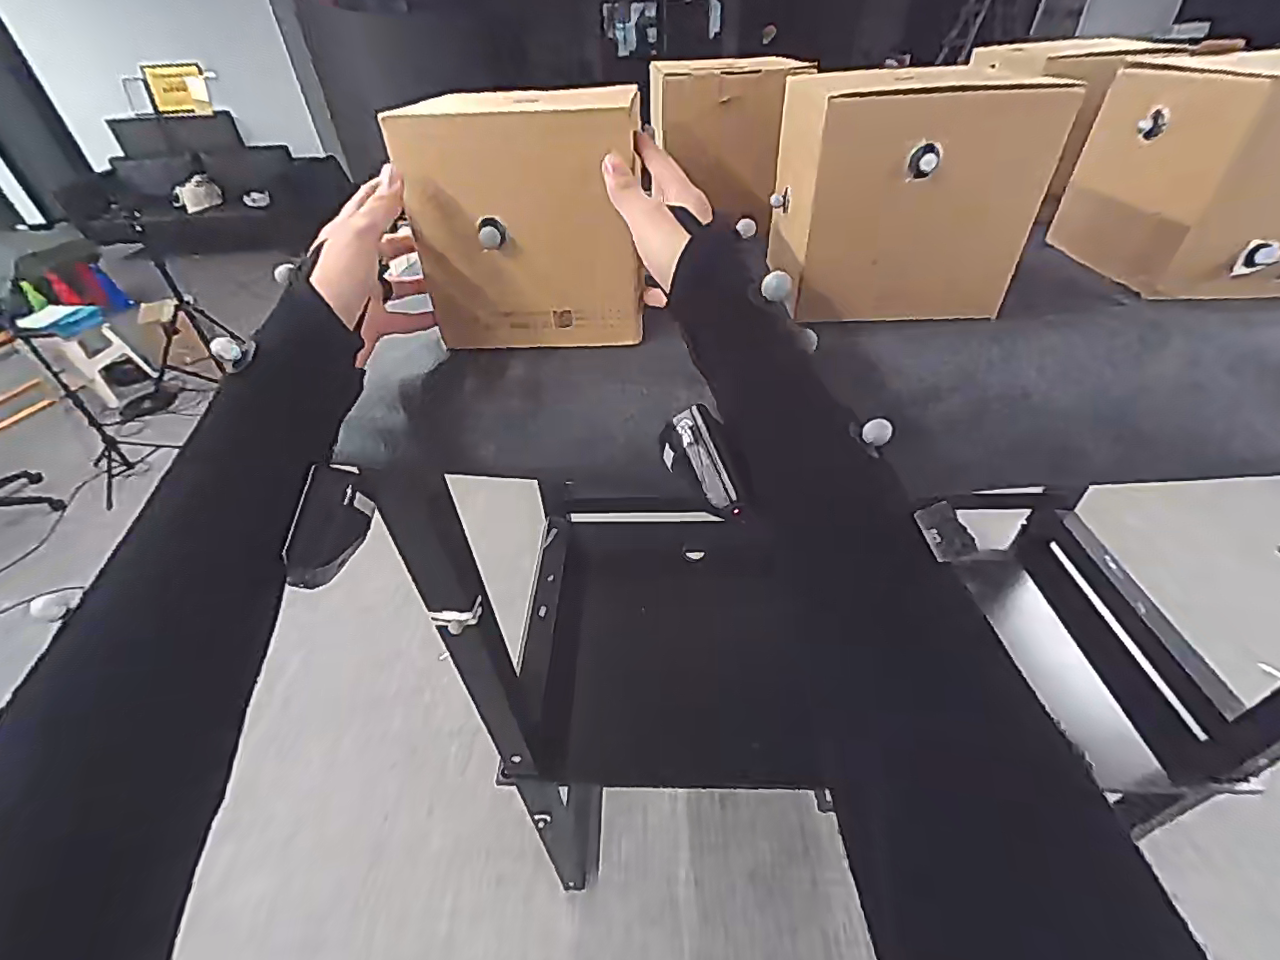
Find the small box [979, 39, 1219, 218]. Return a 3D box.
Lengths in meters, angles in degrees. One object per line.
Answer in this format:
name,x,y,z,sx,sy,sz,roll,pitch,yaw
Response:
small box,0.511,-0.431,0.666,0.179,0.176,0.168,-1,39,1

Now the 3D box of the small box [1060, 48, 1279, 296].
small box,0.532,-0.276,0.483,0.168,0.176,0.179,-1,40,4

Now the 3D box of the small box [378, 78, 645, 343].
small box,-0.081,-0.224,0.455,0.168,0.176,0.179,-1,39,2

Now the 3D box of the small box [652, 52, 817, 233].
small box,0.104,-0.415,0.671,0.168,0.176,0.179,-3,40,-1

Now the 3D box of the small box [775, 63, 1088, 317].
small box,0.219,-0.252,0.473,0.179,0.176,0.168,0,41,3
